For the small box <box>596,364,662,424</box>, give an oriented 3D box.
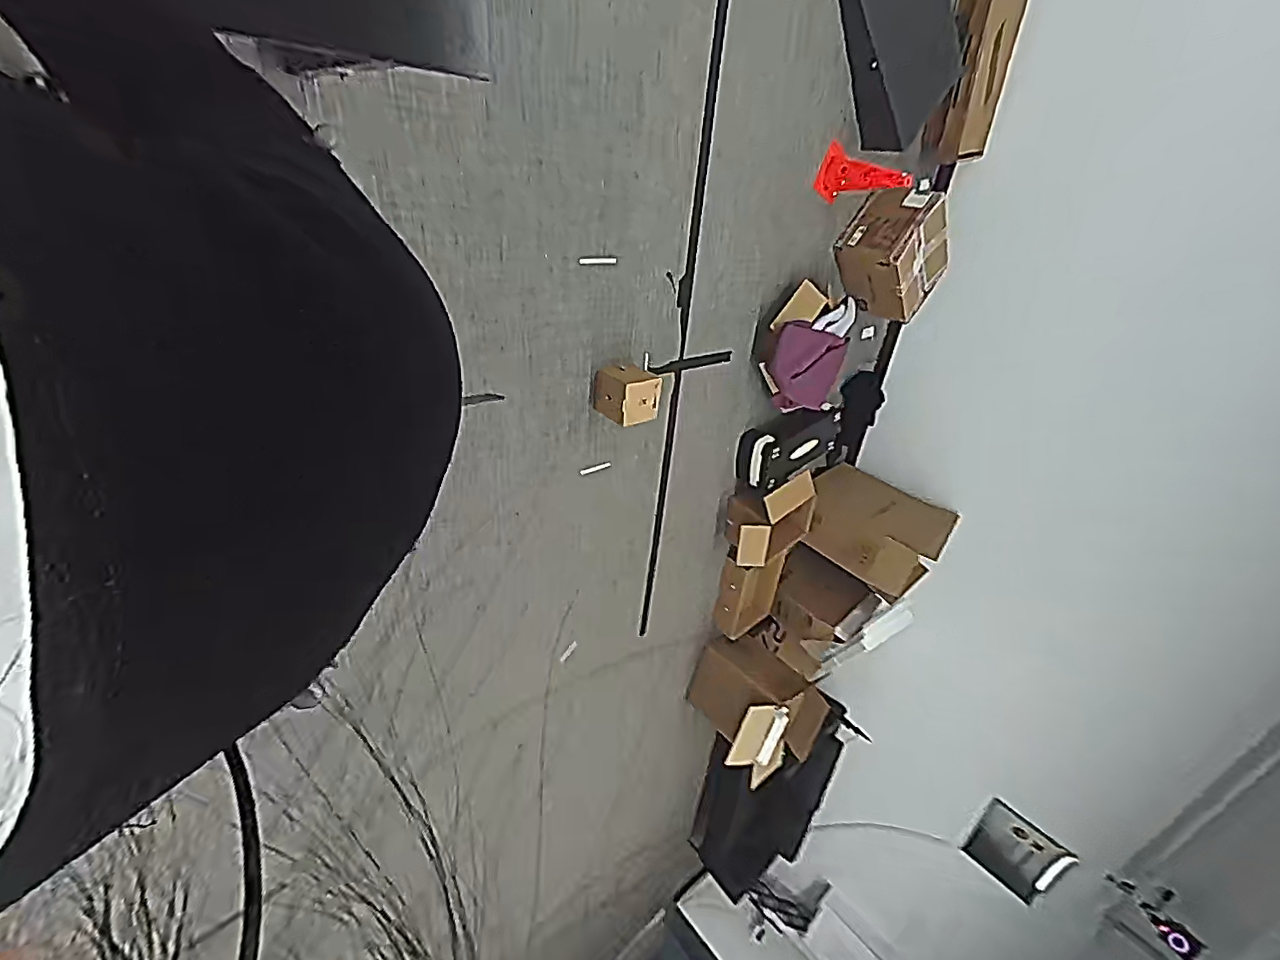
[{"bbox_3d":[-0.046,-0.326,2.019,0.179,0.176,0.168,-18,128,-38],"label":"small box"}]
